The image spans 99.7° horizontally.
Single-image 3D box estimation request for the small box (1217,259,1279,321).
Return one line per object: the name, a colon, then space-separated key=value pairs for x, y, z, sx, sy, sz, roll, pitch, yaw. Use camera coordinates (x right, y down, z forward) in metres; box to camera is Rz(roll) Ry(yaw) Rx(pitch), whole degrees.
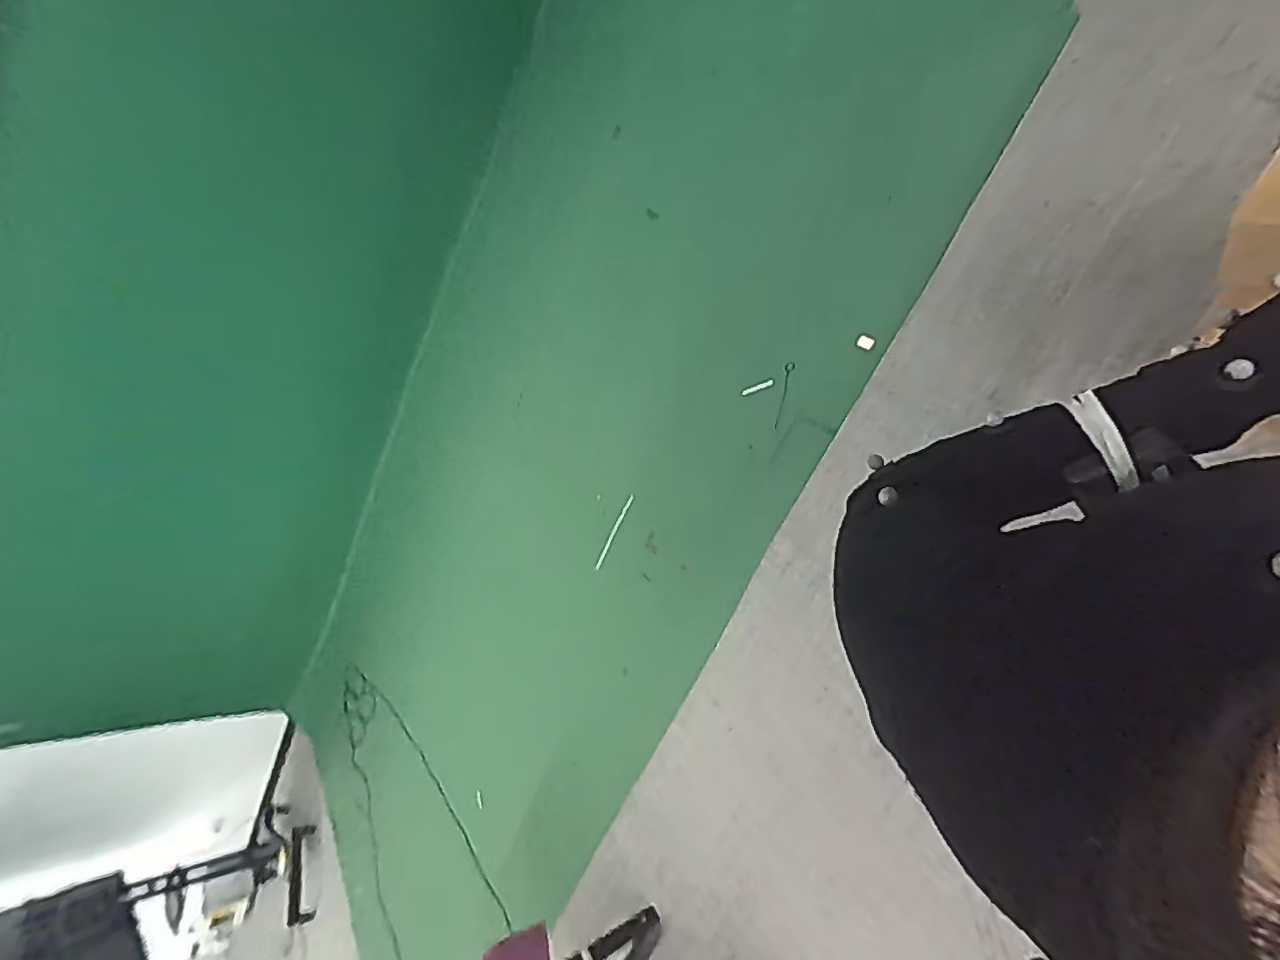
small box: x=0.871 y=-0.301 z=0.667 sx=0.168 sy=0.176 sz=0.179 roll=39 pitch=112 yaw=39
